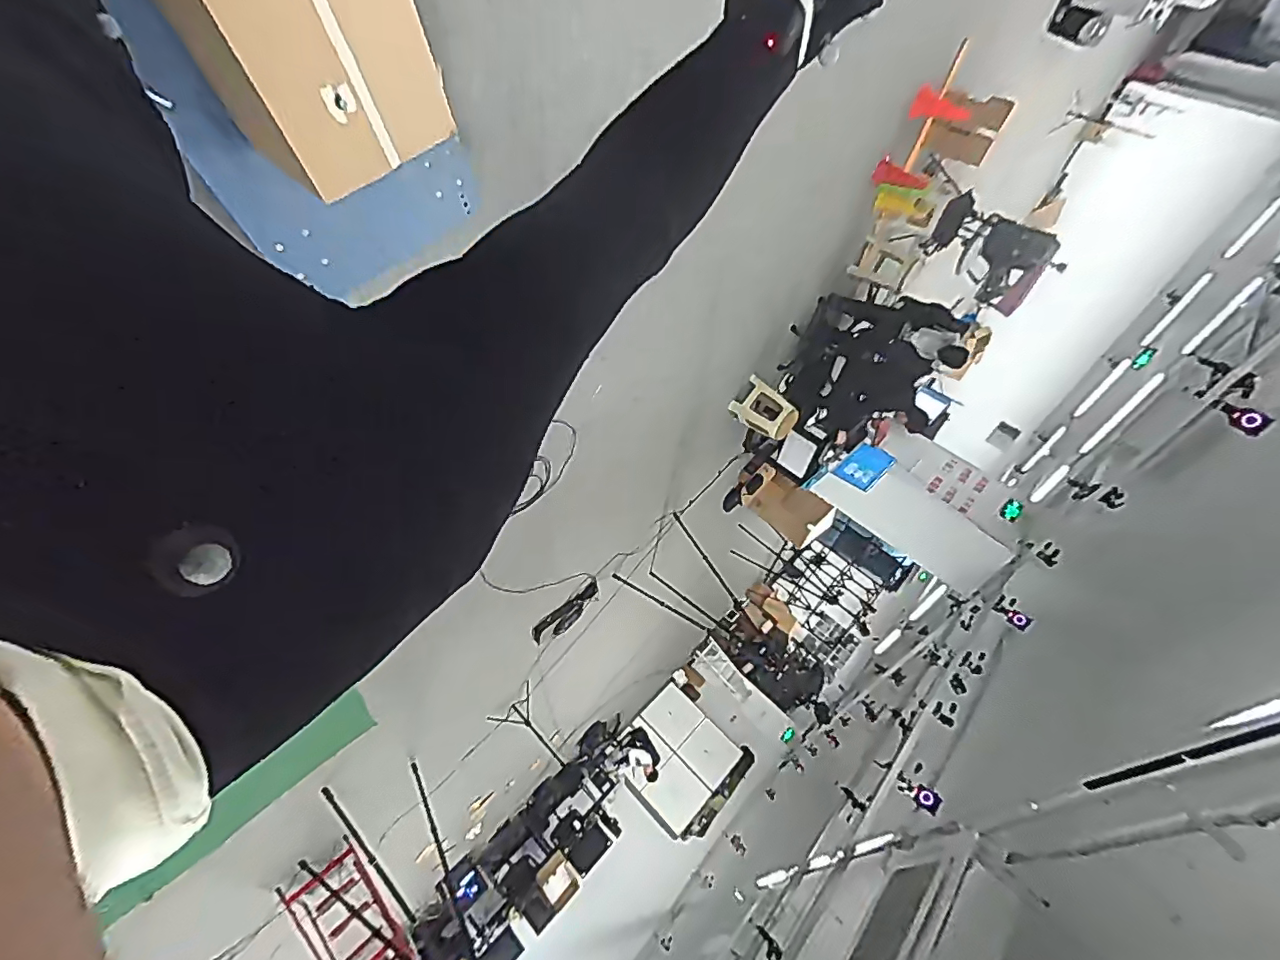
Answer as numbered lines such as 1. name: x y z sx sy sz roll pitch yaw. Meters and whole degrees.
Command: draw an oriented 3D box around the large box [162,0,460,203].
1. large box: -0.594 -0.799 0.949 0.320 0.320 0.408 -42 156 -19
